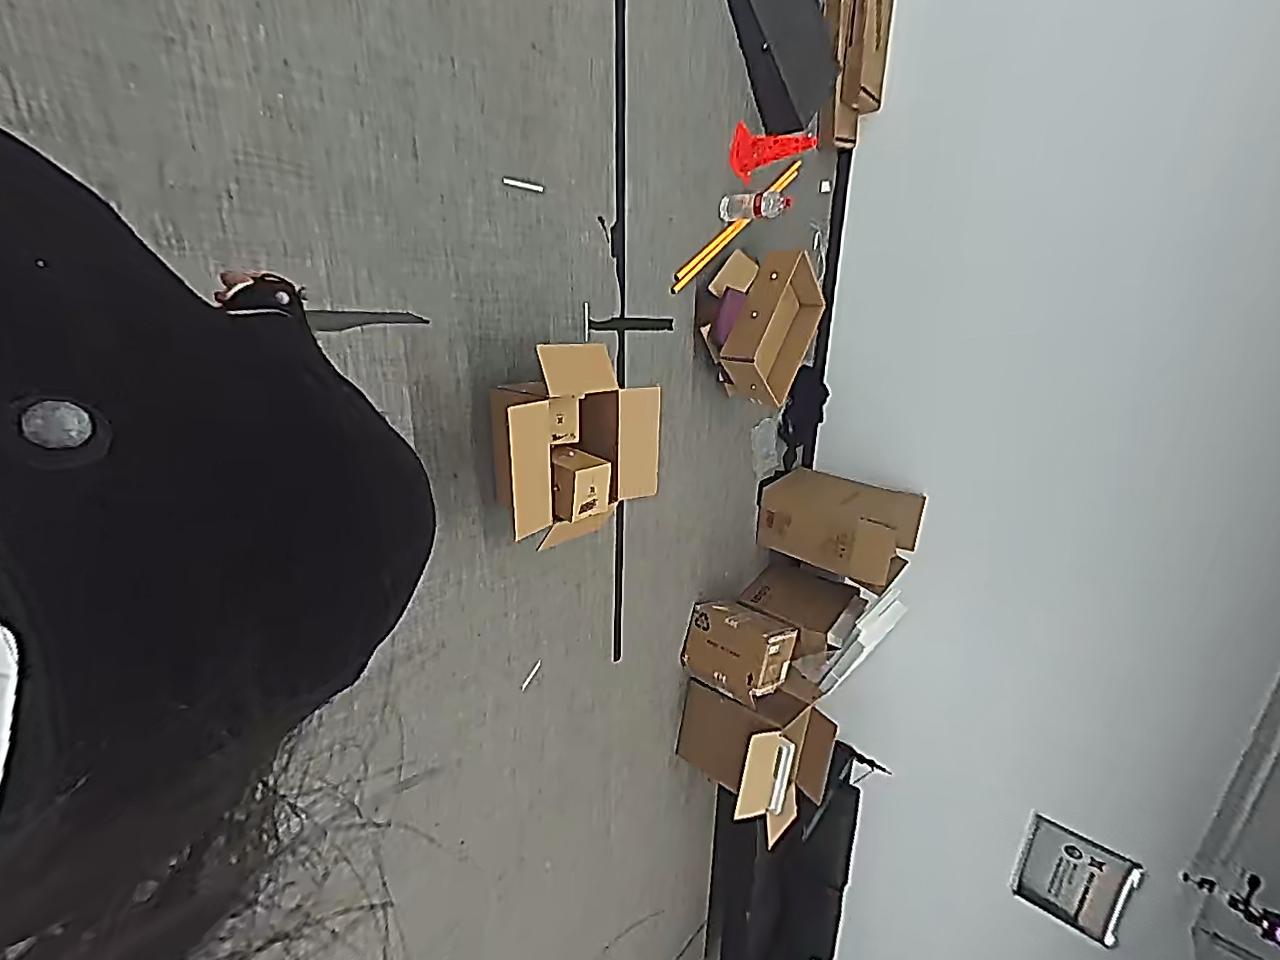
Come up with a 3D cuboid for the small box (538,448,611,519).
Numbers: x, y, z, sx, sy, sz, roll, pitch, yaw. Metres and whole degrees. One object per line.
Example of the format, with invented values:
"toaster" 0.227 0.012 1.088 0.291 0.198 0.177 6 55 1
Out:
"small box" -0.219 0.006 1.780 0.168 0.176 0.179 -16 119 -48
